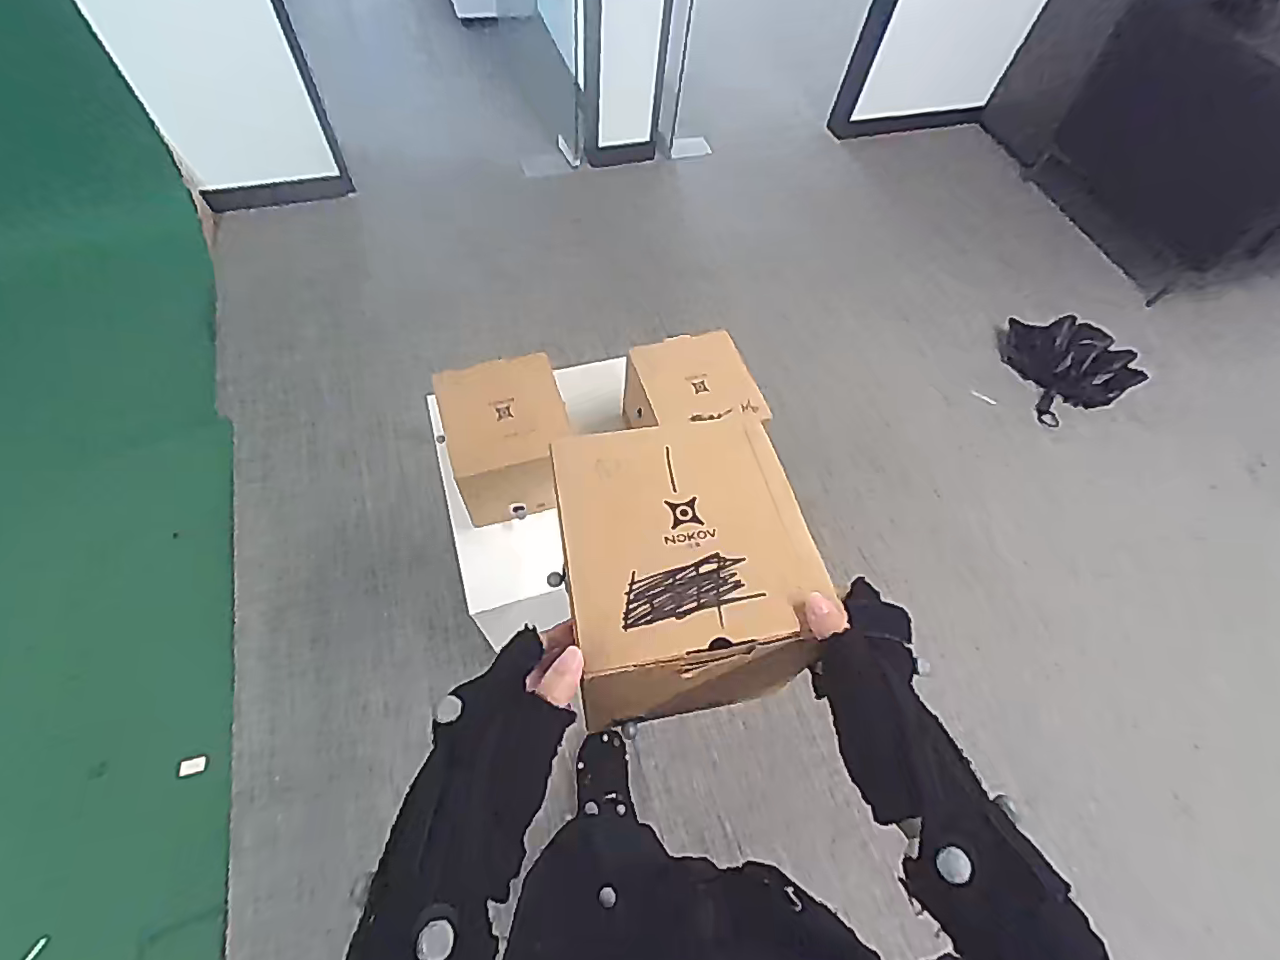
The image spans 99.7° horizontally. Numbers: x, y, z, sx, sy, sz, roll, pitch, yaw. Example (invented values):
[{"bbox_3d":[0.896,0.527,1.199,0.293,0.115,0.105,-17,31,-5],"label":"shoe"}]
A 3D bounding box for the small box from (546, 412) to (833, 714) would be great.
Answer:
[{"bbox_3d":[0.024,0.074,0.434,0.168,0.176,0.179,-9,55,-9],"label":"small box"}]

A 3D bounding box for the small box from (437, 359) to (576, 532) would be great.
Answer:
[{"bbox_3d":[-0.188,-0.047,0.810,0.168,0.176,0.179,-17,66,-13],"label":"small box"}]

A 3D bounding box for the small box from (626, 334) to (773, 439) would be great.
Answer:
[{"bbox_3d":[0.080,-0.098,0.859,0.168,0.176,0.179,-16,63,-12],"label":"small box"}]
